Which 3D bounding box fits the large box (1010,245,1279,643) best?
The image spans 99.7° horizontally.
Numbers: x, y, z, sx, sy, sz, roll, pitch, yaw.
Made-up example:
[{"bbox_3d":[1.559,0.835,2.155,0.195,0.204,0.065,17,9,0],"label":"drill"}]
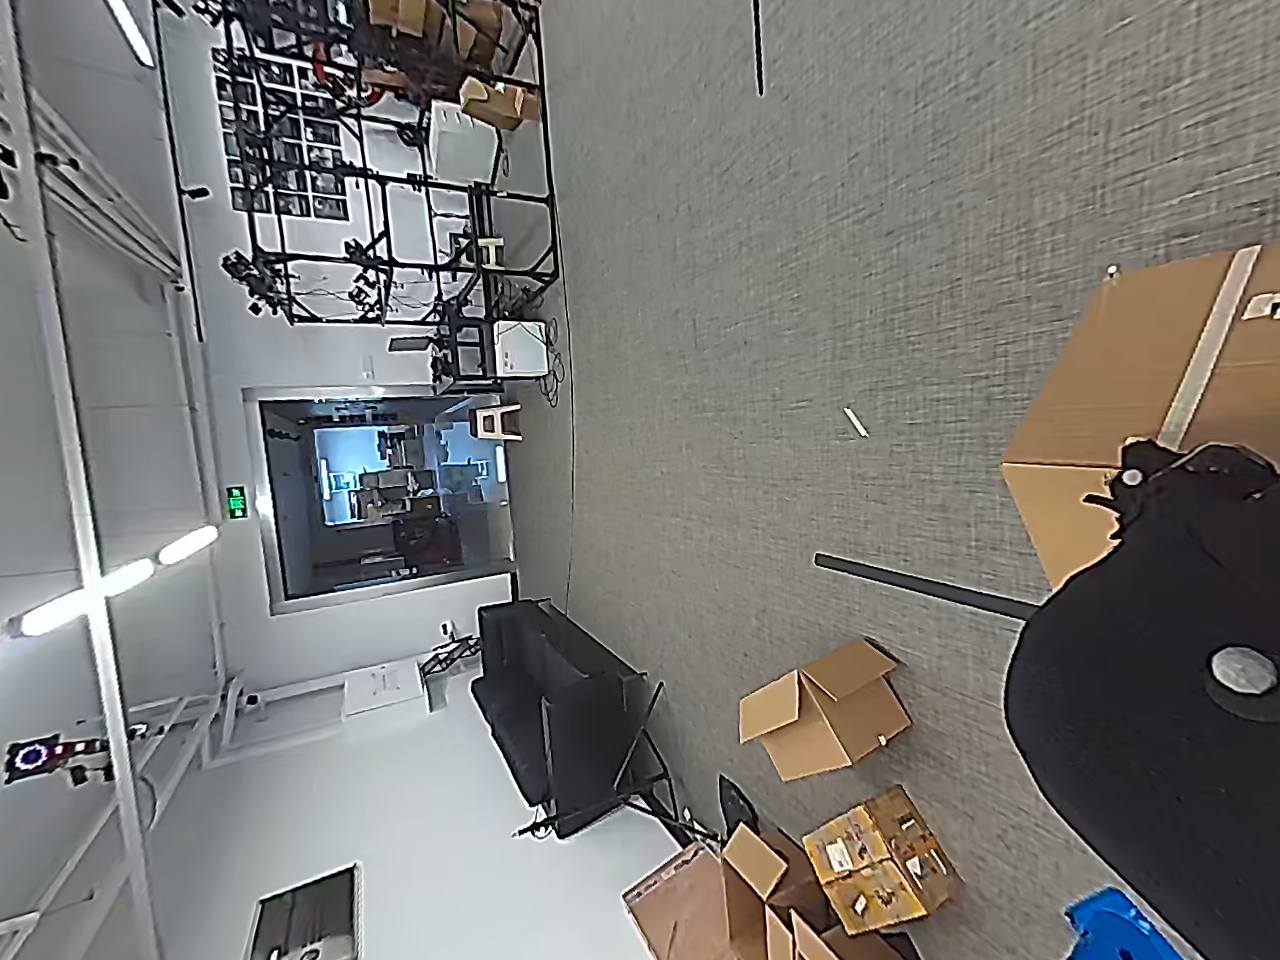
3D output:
[{"bbox_3d":[0.769,-0.051,0.708,0.320,0.408,0.320,50,159,-27],"label":"large box"}]
